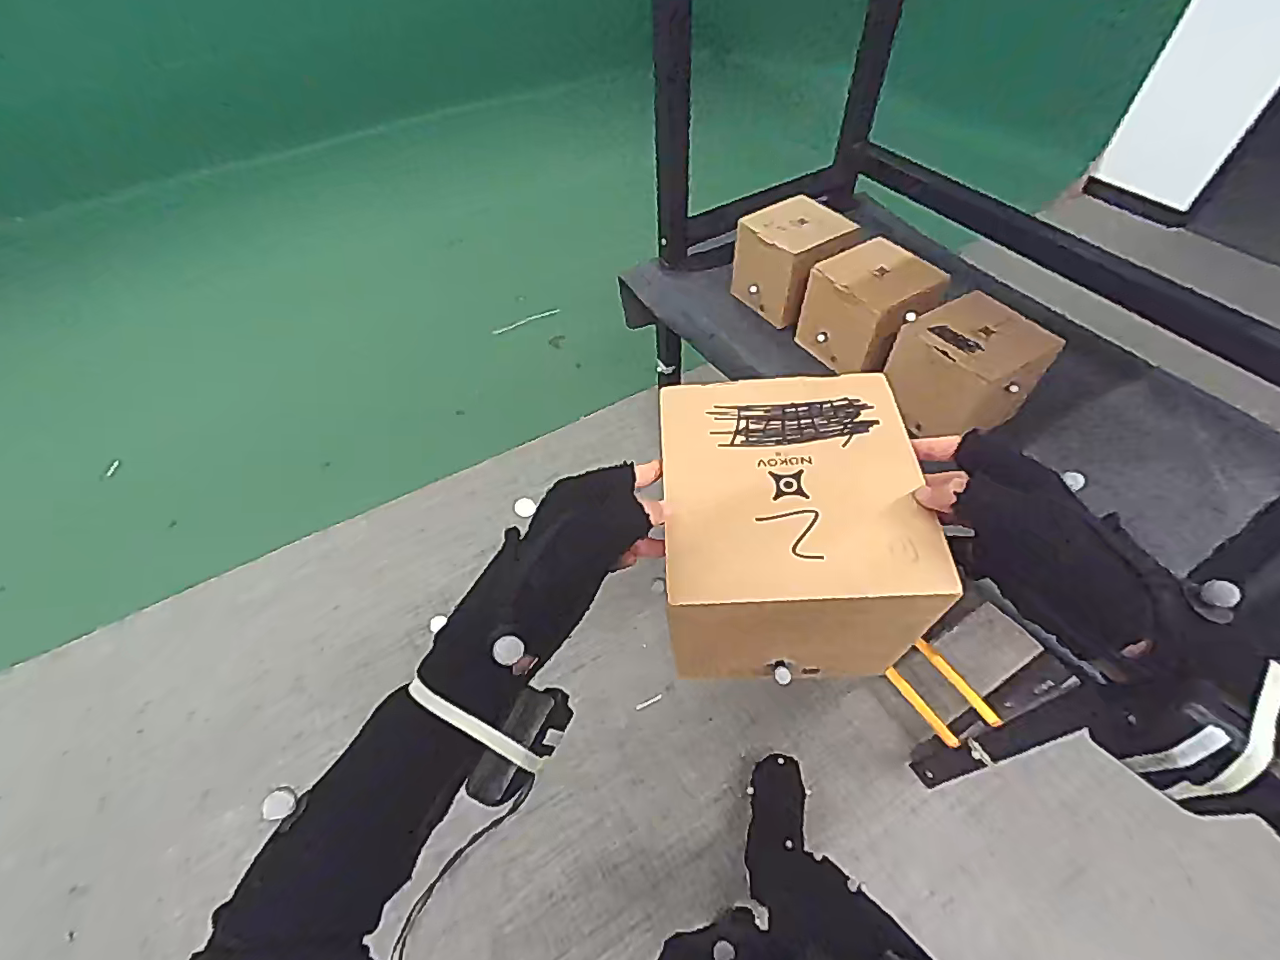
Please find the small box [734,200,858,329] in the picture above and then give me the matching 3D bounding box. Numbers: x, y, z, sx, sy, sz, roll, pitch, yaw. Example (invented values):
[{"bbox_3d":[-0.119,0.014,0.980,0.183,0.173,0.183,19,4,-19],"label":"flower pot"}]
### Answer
[{"bbox_3d":[0.315,-0.449,1.133,0.179,0.176,0.168,-28,56,-17],"label":"small box"}]
